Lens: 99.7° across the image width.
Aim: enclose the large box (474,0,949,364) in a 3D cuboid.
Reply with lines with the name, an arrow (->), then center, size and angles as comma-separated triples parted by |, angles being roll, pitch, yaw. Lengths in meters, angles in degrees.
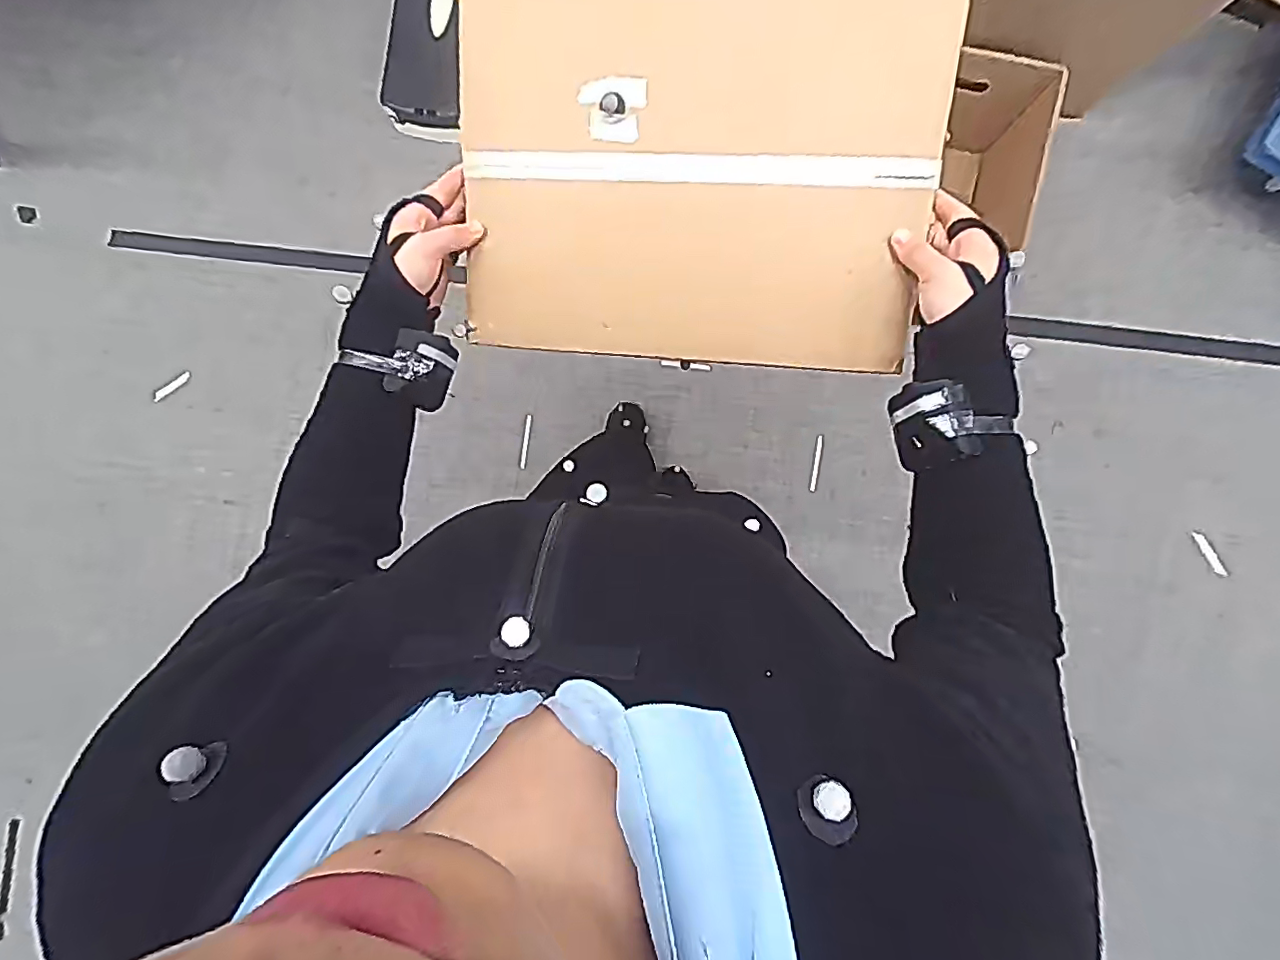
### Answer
large box -> 0.067, -0.304, 0.623 | 0.408, 0.320, 0.320 | 5, 103, 8
